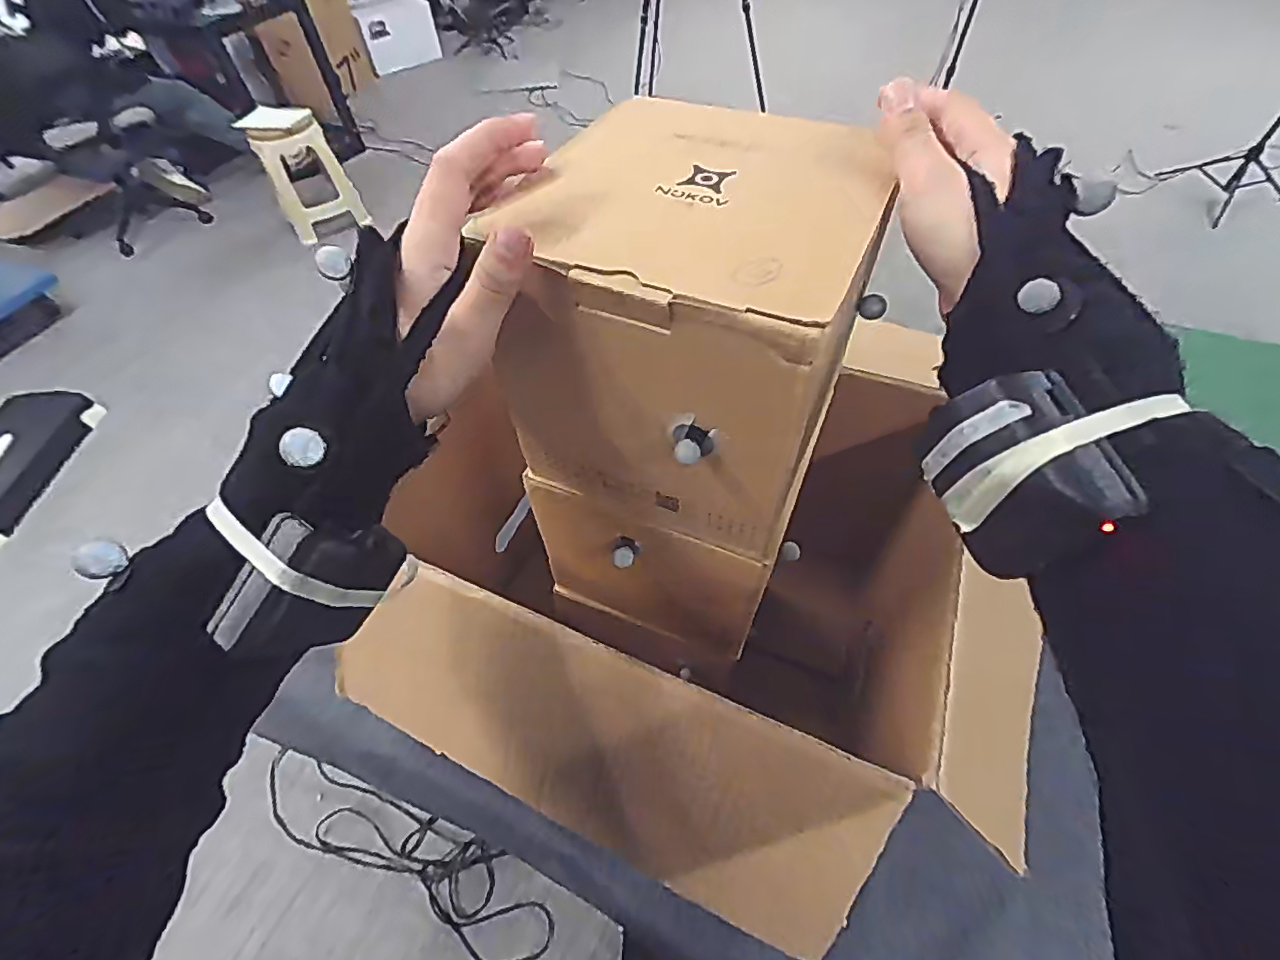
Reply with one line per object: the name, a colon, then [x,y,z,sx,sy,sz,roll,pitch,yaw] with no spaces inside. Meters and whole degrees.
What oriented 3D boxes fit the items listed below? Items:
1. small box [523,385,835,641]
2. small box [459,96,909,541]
small box: [0.035,0.011,0.444,0.179,0.176,0.168,19,56,16]
small box: [0.032,-0.092,0.320,0.168,0.176,0.179,20,56,16]
